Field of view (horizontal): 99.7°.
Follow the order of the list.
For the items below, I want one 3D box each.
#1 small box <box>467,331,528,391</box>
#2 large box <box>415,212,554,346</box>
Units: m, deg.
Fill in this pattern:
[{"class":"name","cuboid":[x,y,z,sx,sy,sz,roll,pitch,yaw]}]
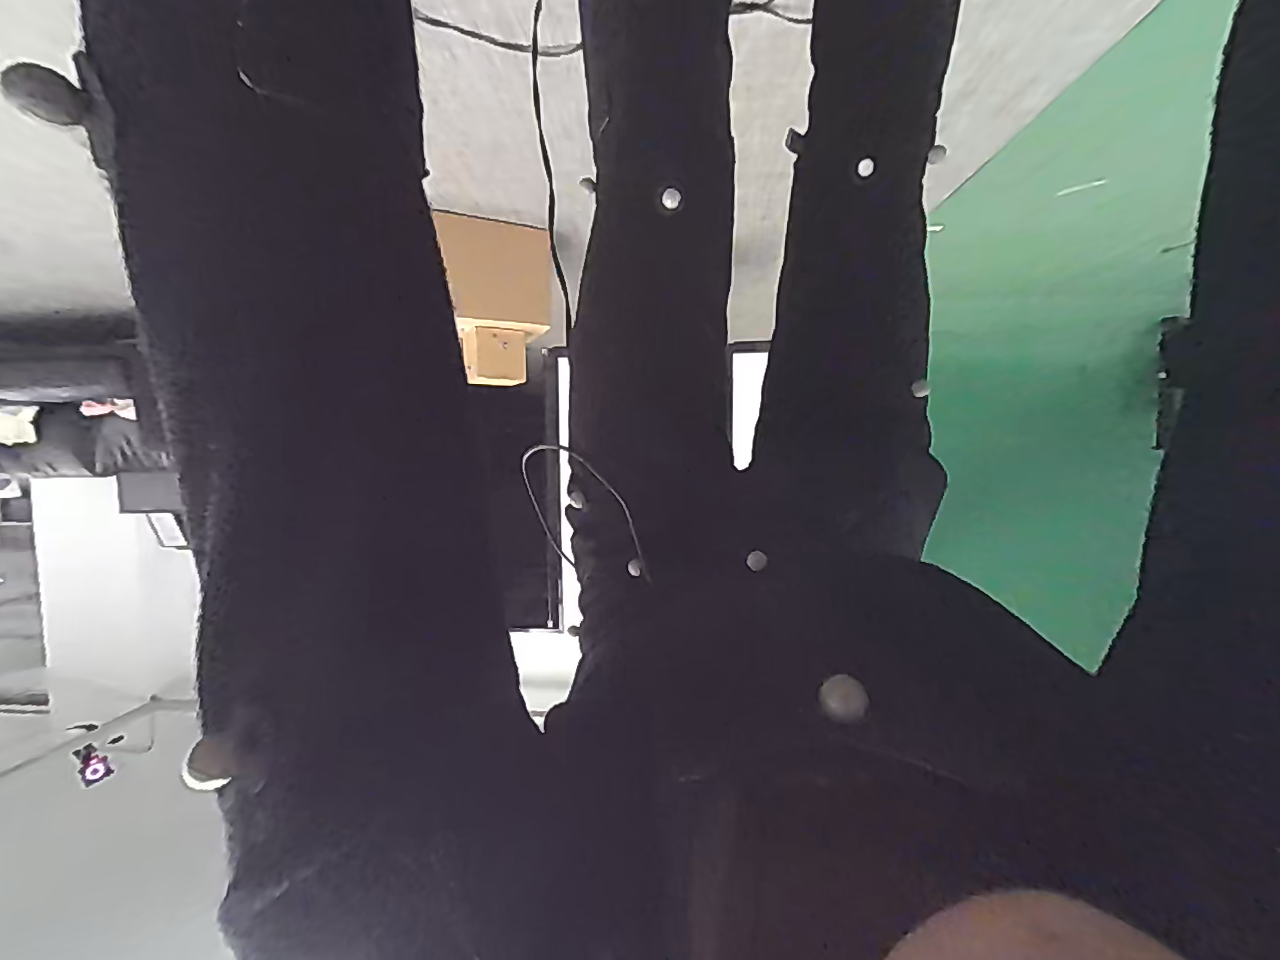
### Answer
[{"class":"small box","cuboid":[-0.482,-0.398,1.826,0.168,0.176,0.179,-2,-176,-30]},{"class":"large box","cuboid":[-0.518,-0.640,1.787,0.408,0.320,0.320,0,-178,-26]}]
